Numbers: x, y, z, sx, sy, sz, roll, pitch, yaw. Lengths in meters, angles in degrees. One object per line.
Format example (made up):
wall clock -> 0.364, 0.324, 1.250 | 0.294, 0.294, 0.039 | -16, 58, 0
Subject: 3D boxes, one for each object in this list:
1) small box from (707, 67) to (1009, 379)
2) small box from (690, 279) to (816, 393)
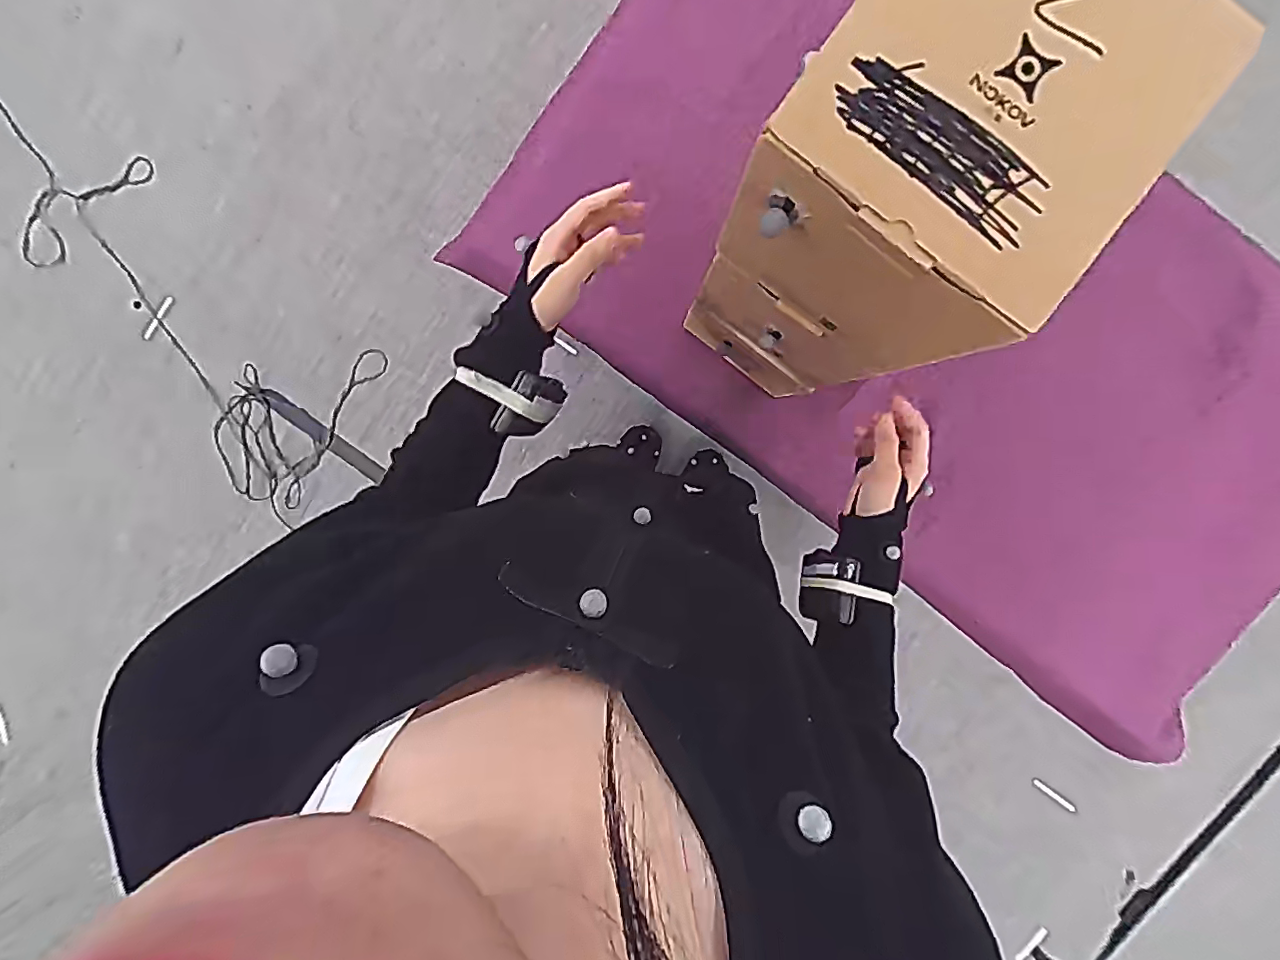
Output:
small box -> 0.177, -0.210, 0.506 | 0.168, 0.176, 0.179 | 35, 95, -4
small box -> 0.175, -0.222, 0.669 | 0.168, 0.176, 0.179 | 37, 94, -4
